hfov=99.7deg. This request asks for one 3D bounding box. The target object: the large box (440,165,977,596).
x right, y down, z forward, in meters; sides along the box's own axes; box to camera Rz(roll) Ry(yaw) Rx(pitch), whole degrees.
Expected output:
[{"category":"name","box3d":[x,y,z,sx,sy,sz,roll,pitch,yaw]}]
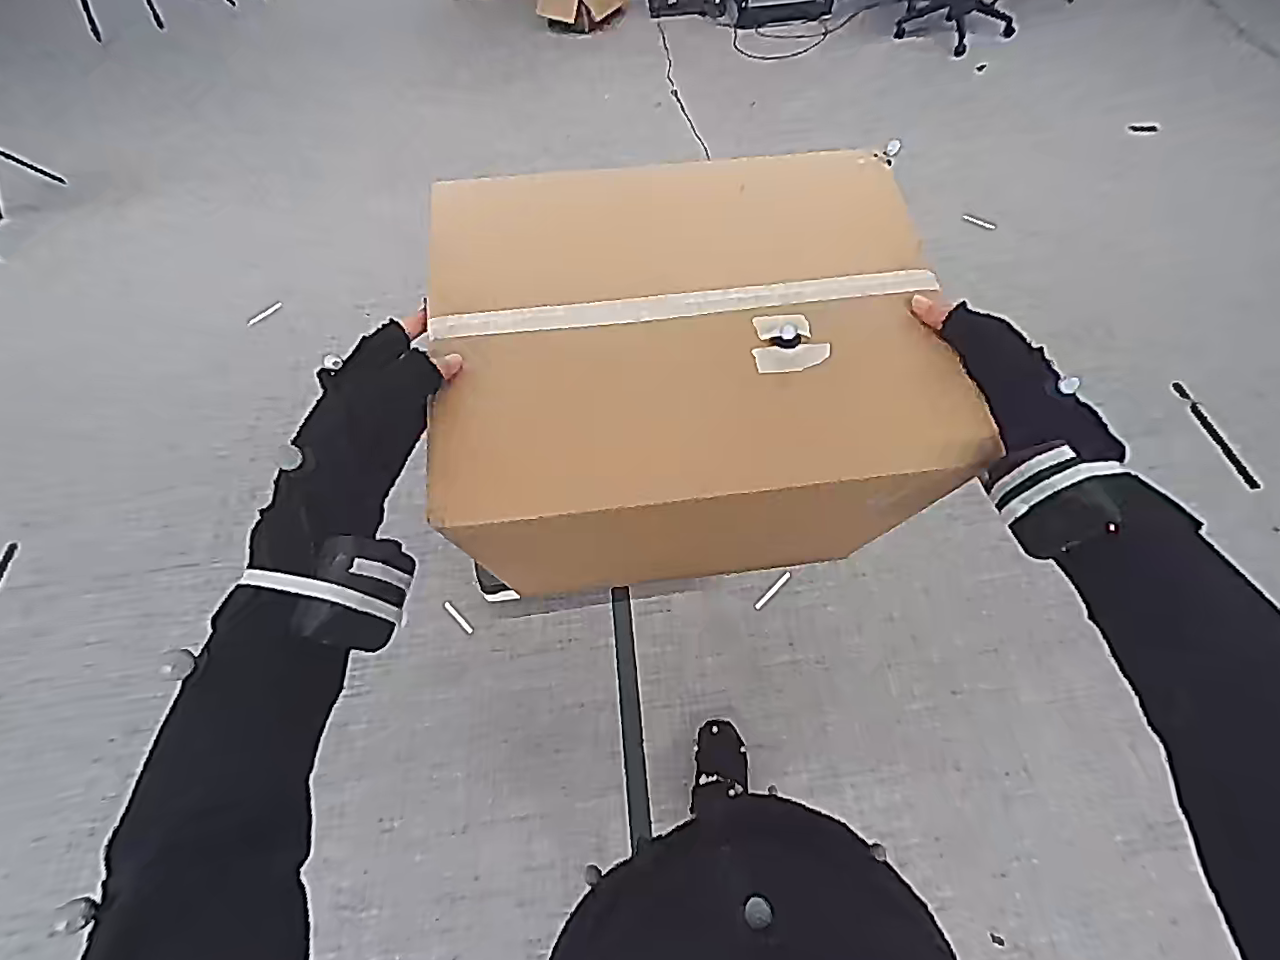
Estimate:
[{"category":"large box","box3d":[0.034,-0.078,0.582,0.408,0.320,0.320,-7,69,-4]}]
